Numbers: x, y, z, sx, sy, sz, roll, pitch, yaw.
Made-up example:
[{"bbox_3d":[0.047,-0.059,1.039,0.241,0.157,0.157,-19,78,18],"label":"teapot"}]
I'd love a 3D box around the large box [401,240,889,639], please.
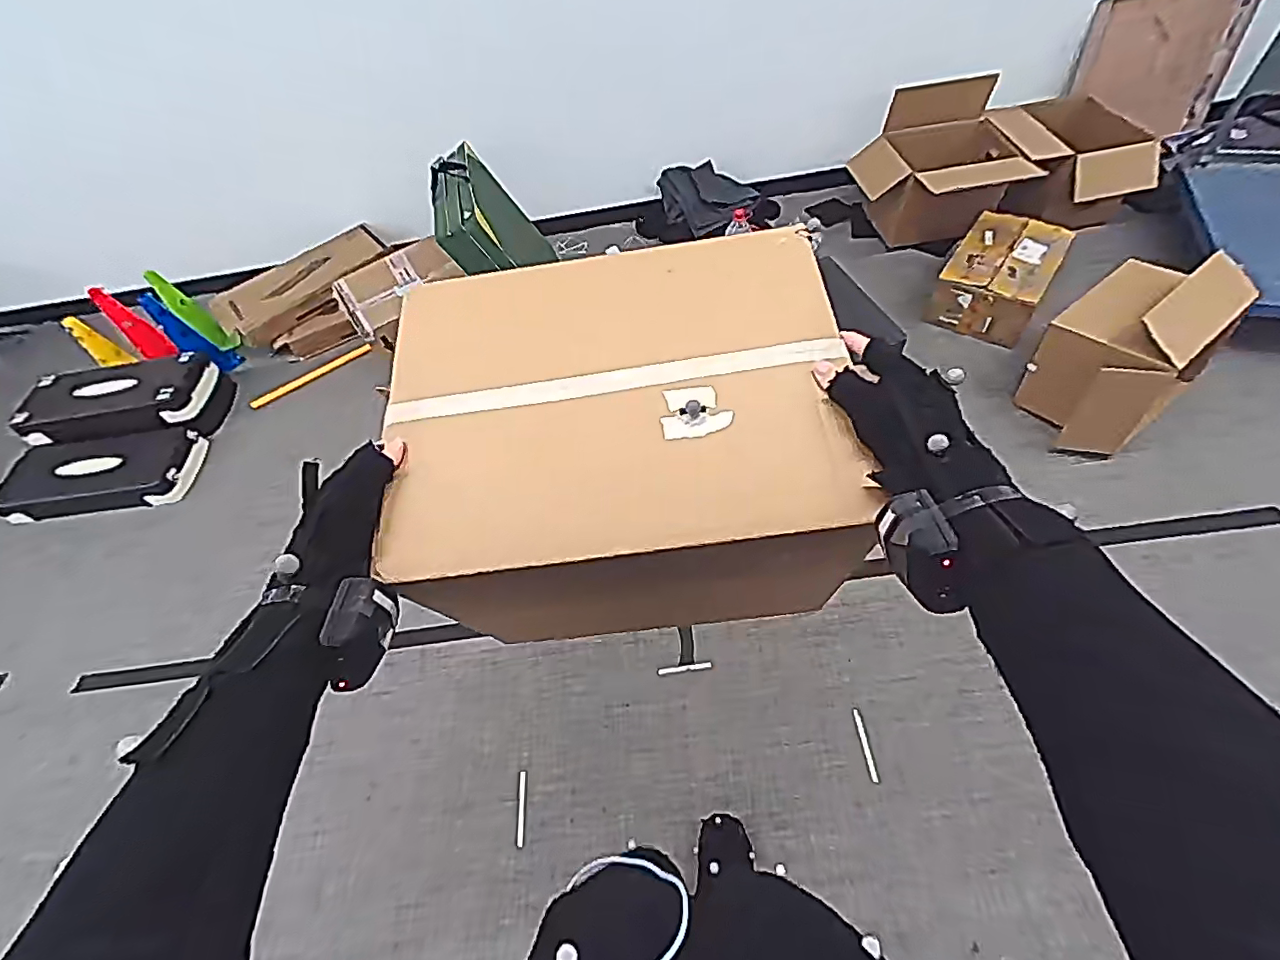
[{"bbox_3d":[-0.002,-0.019,0.627,0.408,0.320,0.320,-7,65,3],"label":"large box"}]
